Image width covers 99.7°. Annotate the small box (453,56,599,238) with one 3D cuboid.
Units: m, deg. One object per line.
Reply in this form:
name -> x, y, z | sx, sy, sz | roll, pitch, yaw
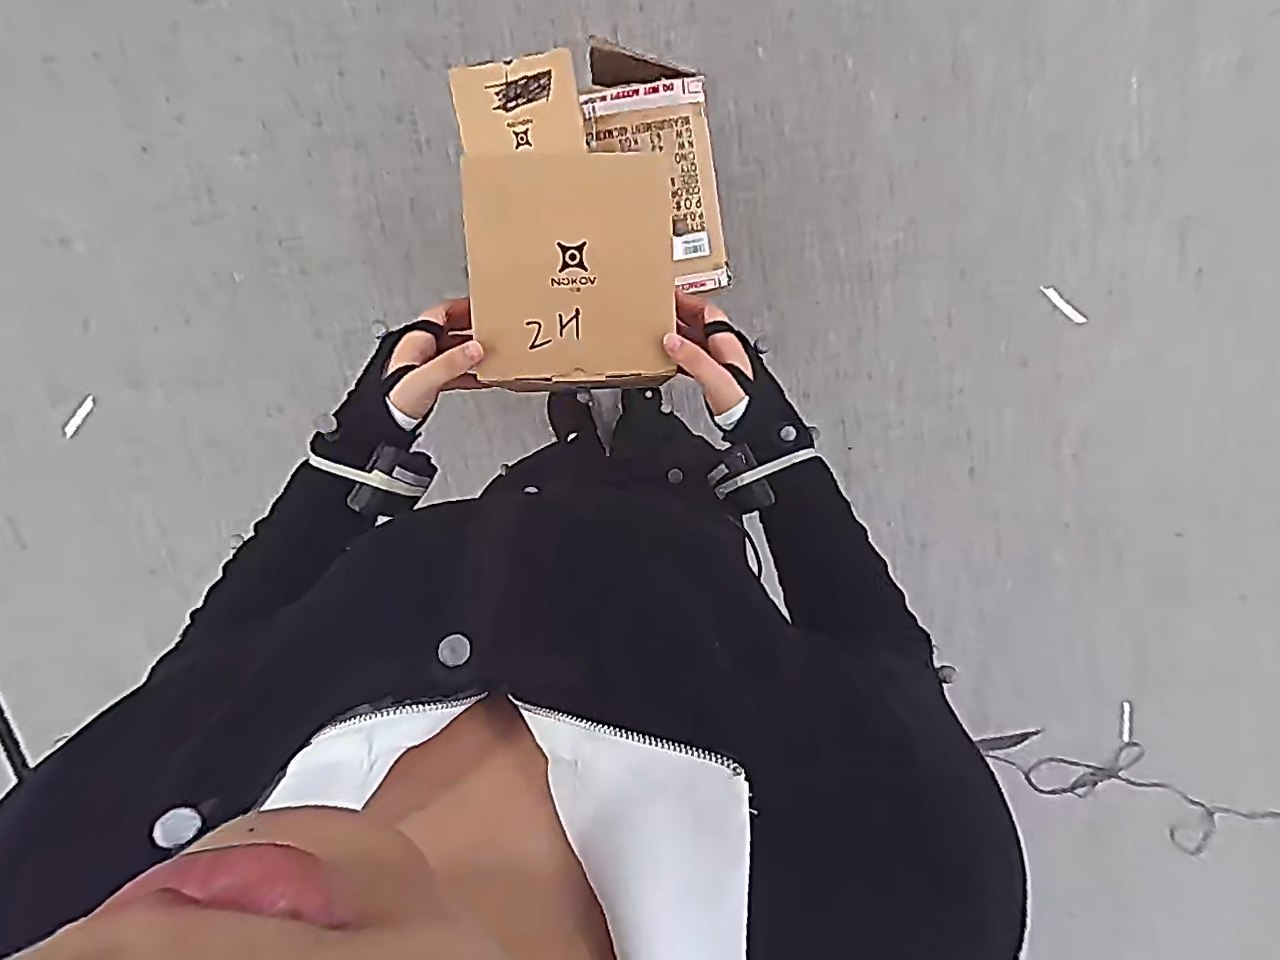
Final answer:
small box -> -0.158, -0.483, 0.810 | 0.168, 0.176, 0.179 | -9, 104, 2
